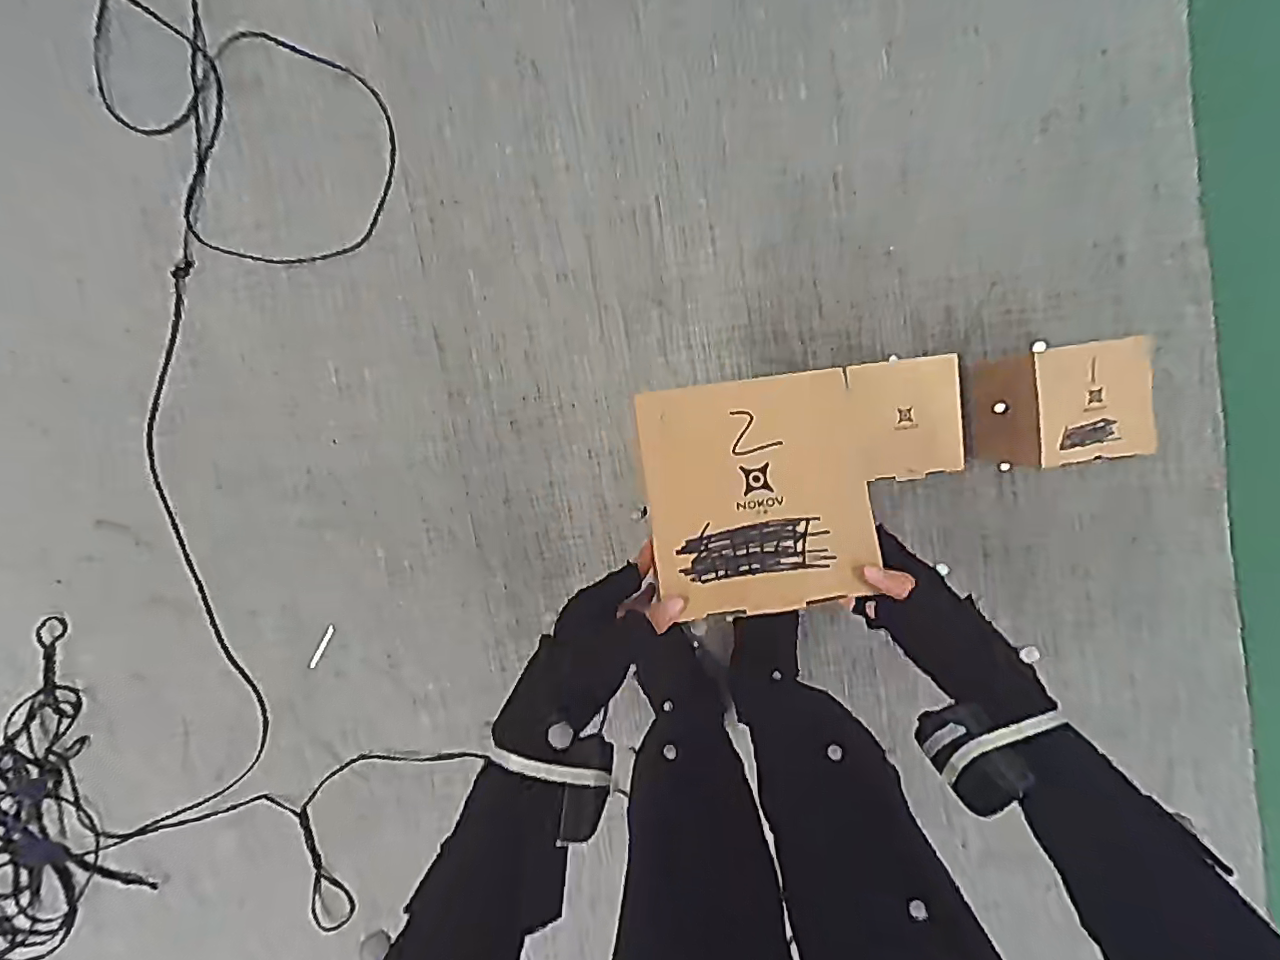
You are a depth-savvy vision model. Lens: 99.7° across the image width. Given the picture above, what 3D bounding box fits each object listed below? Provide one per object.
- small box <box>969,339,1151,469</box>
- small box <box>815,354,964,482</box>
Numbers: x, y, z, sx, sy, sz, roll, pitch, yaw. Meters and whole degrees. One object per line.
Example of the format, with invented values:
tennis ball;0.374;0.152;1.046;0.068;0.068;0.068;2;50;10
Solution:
small box;0.662;-0.117;0.869;0.168;0.176;0.179;-7;94;2
small box;0.393;-0.096;0.879;0.168;0.176;0.179;-7;95;2
